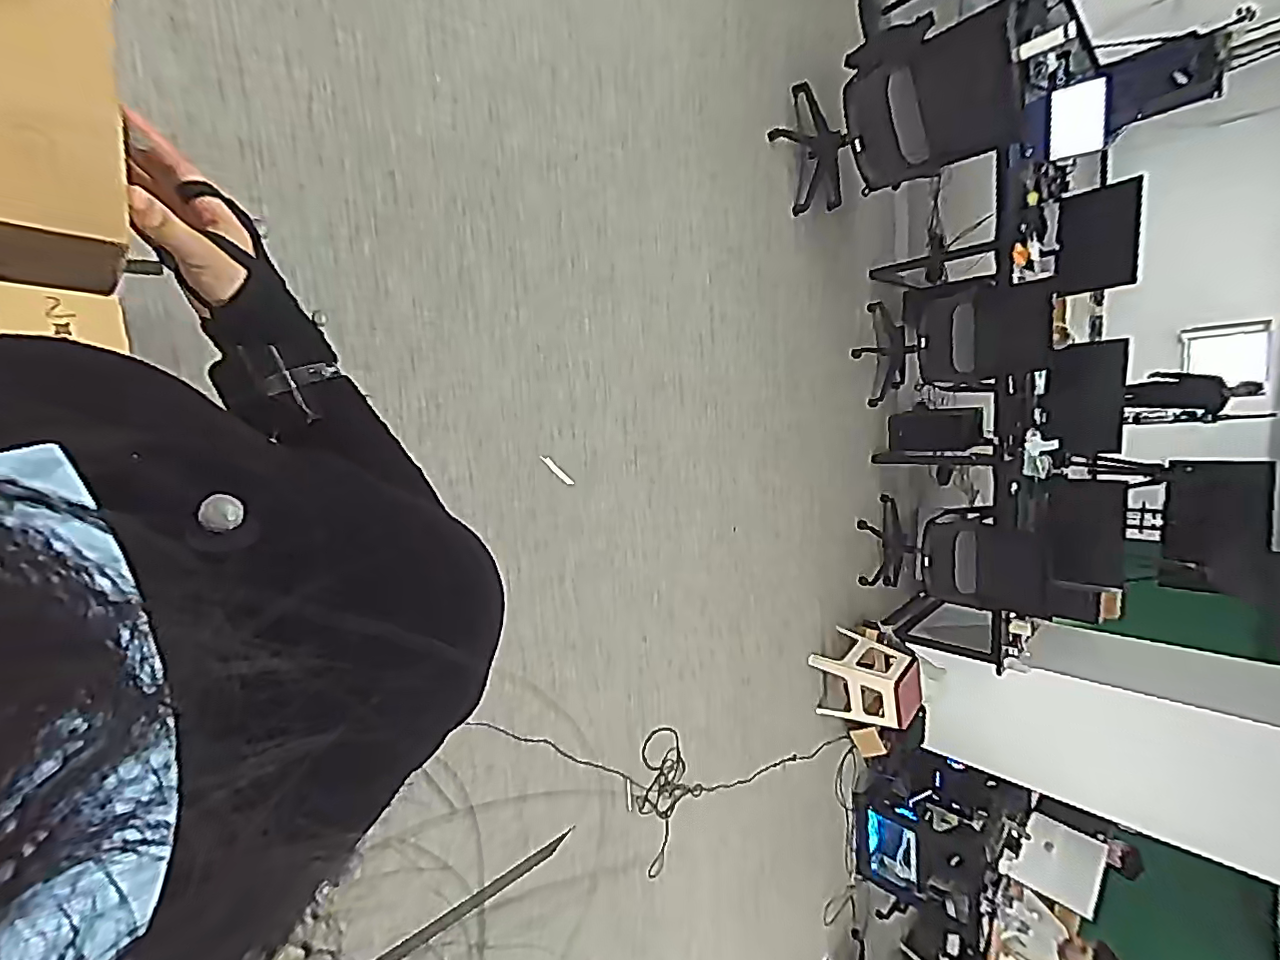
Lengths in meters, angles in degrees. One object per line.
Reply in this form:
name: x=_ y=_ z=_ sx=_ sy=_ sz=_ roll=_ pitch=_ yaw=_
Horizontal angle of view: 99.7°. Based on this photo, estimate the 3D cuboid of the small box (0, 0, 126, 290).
small box: x=-0.402 y=-0.217 z=0.296 sx=0.168 sy=0.176 sz=0.179 roll=-4 pitch=97 yaw=-48
